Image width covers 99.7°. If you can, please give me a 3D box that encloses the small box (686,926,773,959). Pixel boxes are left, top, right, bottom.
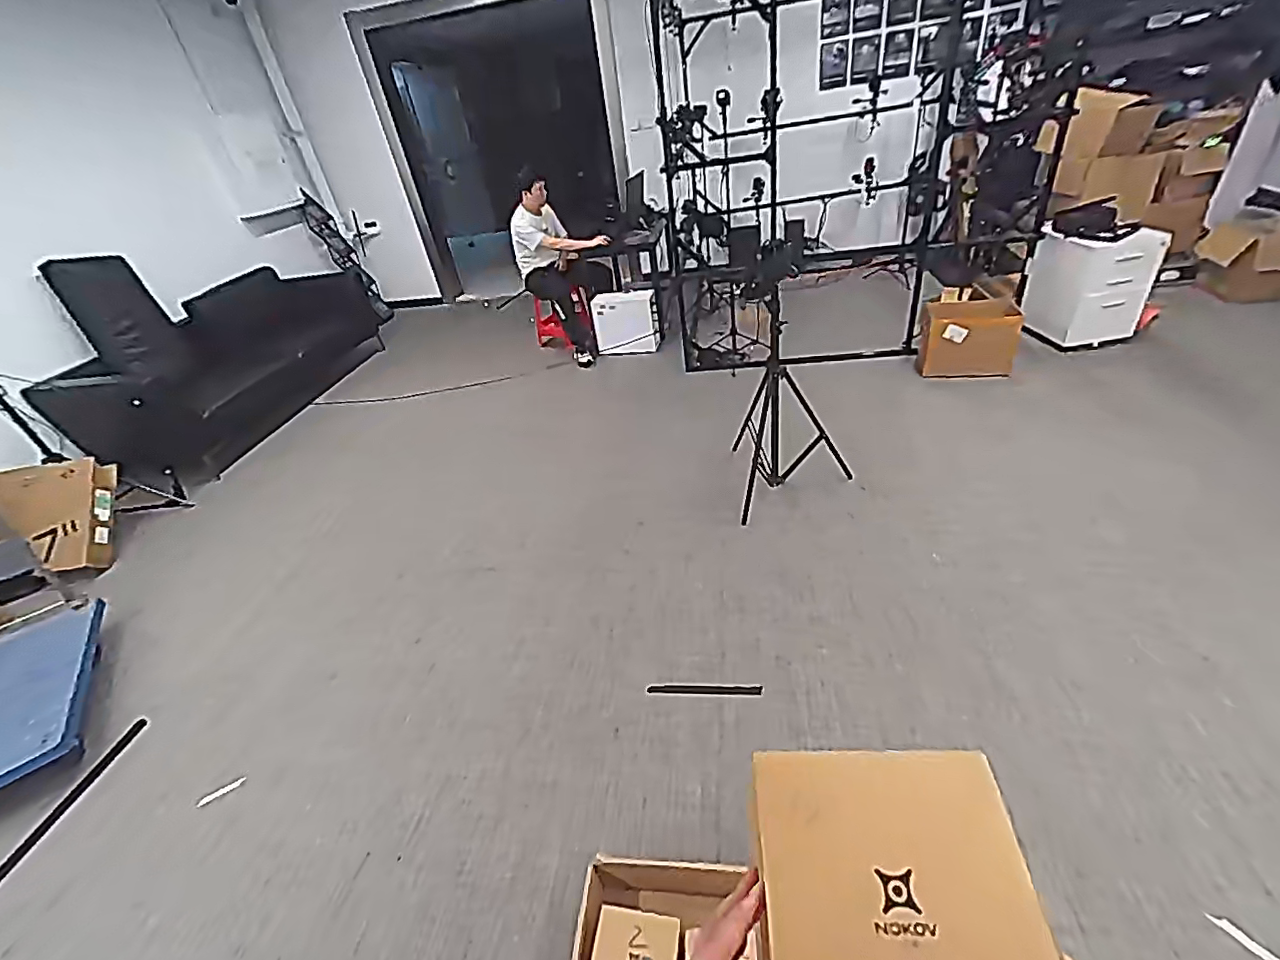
[{"bbox_3d":[0.177,0.993,1.036,0.168,0.176,0.179,-4,35,7],"label":"small box"}]
